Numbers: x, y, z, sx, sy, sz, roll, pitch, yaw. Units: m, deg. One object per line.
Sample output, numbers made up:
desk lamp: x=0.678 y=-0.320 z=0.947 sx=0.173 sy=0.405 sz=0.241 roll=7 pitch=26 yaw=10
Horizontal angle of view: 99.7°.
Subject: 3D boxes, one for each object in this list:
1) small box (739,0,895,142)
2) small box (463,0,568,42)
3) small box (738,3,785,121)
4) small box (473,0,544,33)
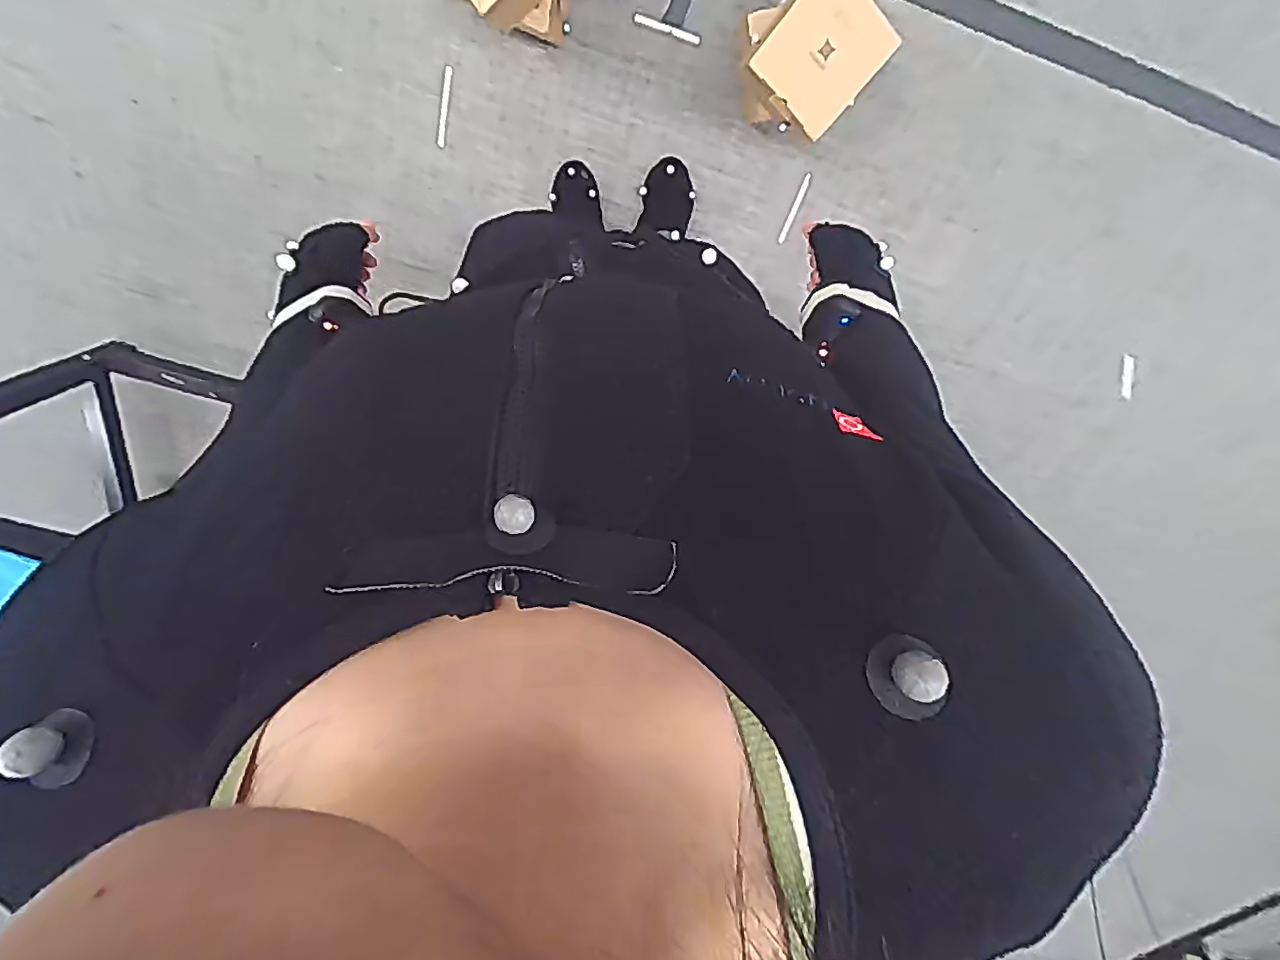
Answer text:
small box: x=0.284 y=-0.711 z=0.916 sx=0.168 sy=0.176 sz=0.179 roll=36 pitch=116 yaw=-21
small box: x=-0.220 y=-0.934 z=0.985 sx=0.179 sy=0.176 sz=0.168 roll=18 pitch=121 yaw=-8
small box: x=0.287 y=-0.809 z=1.047 sx=0.179 sy=0.176 sz=0.168 roll=-9 pitch=123 yaw=8
small box: x=-0.222 y=-0.854 z=0.837 sx=0.168 sy=0.176 sz=0.179 roll=-30 pitch=116 yaw=19
